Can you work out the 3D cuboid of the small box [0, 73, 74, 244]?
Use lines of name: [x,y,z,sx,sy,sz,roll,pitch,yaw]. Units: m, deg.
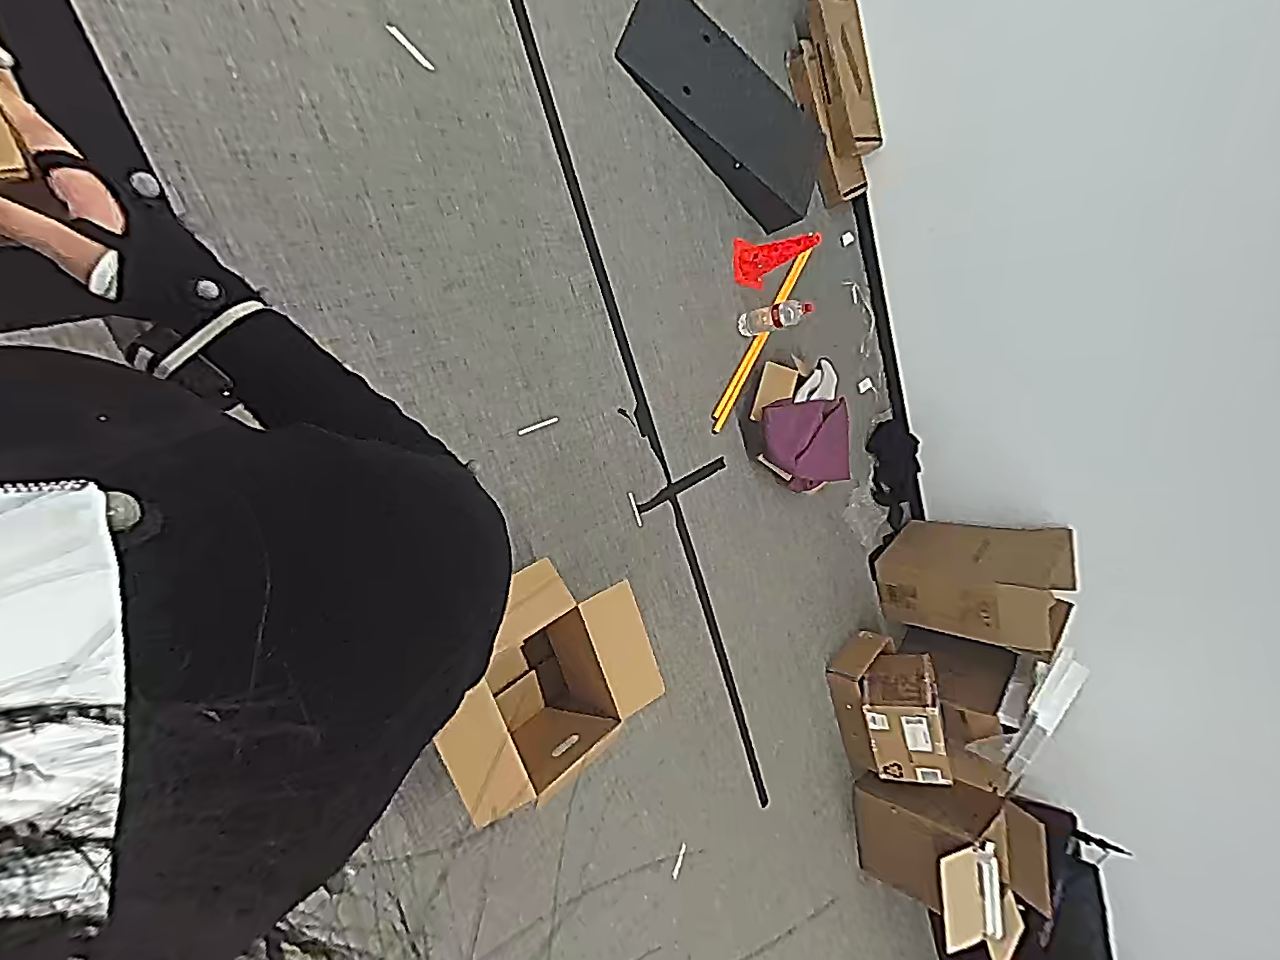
small box: [-0.523,-0.252,0.343,0.168,0.176,0.179,-25,110,-31]
